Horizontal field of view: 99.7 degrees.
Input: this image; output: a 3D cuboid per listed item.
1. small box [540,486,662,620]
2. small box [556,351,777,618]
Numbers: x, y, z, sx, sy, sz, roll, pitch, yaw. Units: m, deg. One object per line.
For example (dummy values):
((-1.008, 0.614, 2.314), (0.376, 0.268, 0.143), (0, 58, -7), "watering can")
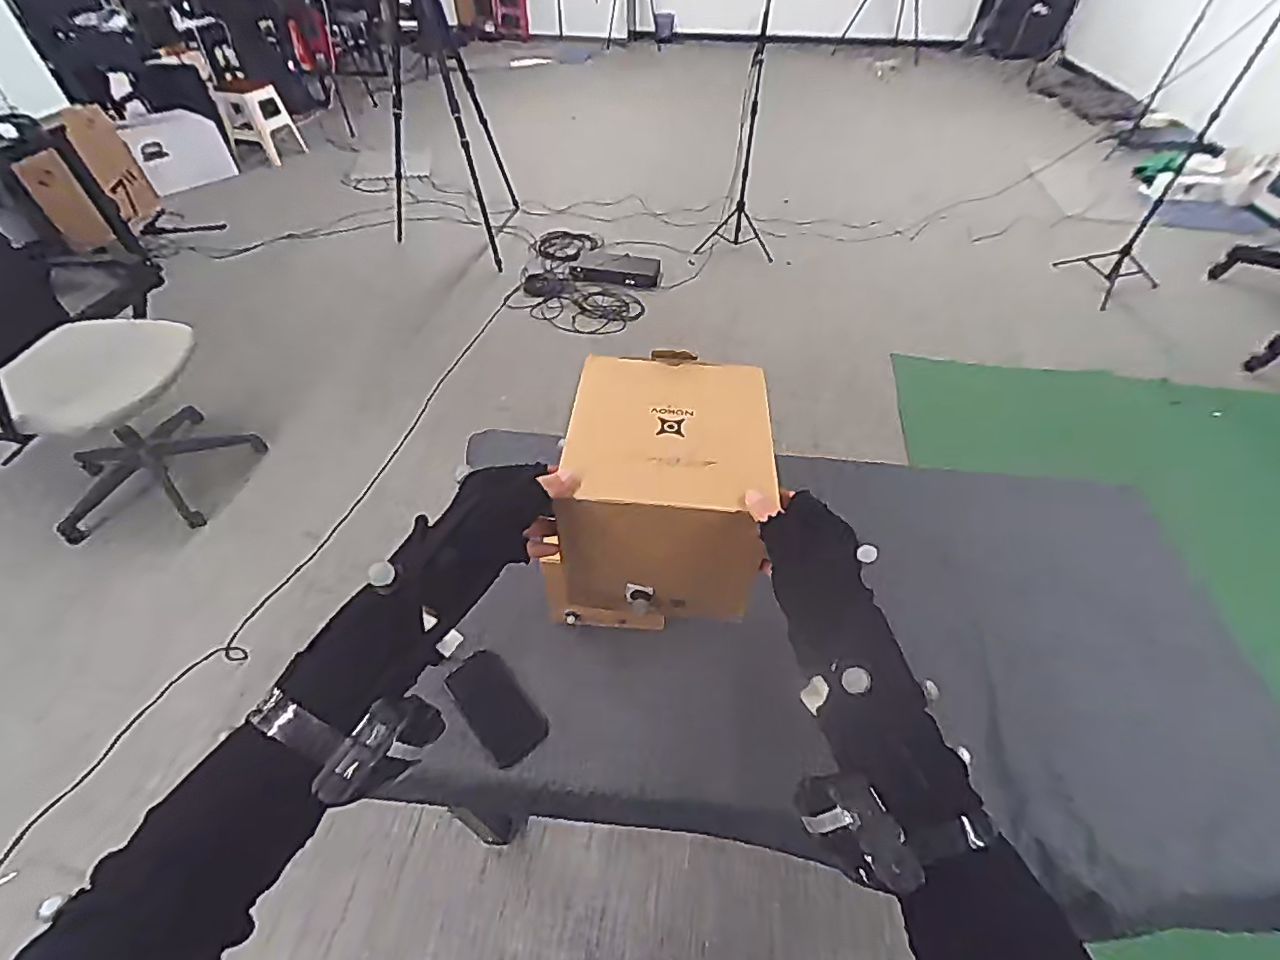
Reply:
((-0.042, 0.090, 0.801), (0.168, 0.176, 0.179), (4, 47, 2), "small box")
((0.021, 0.005, 0.505), (0.168, 0.176, 0.179), (5, 49, 1), "small box")
